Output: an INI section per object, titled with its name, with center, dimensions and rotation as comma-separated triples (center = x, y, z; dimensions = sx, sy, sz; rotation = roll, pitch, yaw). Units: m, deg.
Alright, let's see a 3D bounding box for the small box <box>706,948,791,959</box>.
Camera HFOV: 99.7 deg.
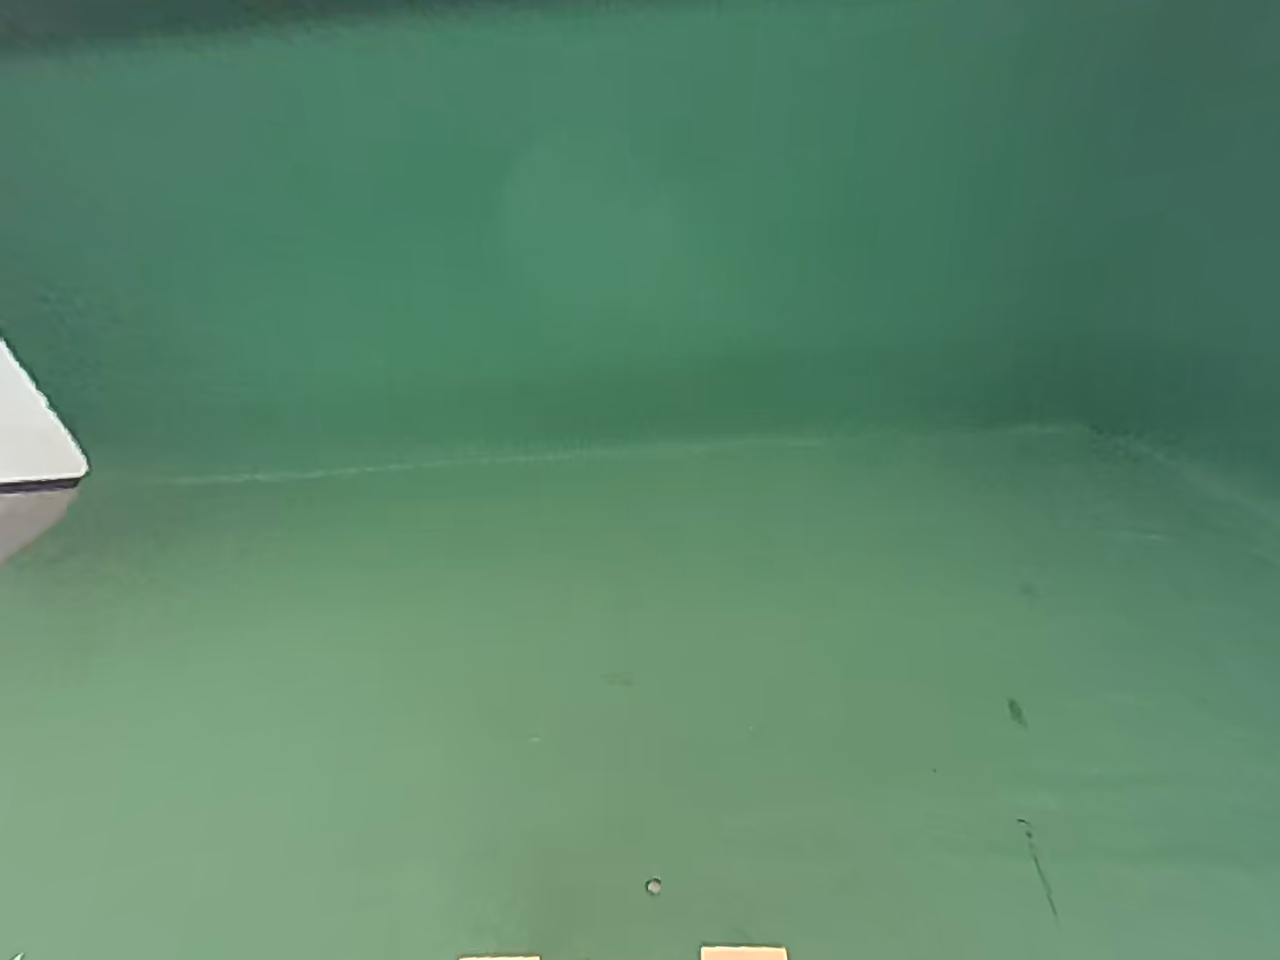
[small box]
center = 0.209, 1.022, 1.017
dimensions = 0.168, 0.176, 0.179
rotation = -3, 34, 4
